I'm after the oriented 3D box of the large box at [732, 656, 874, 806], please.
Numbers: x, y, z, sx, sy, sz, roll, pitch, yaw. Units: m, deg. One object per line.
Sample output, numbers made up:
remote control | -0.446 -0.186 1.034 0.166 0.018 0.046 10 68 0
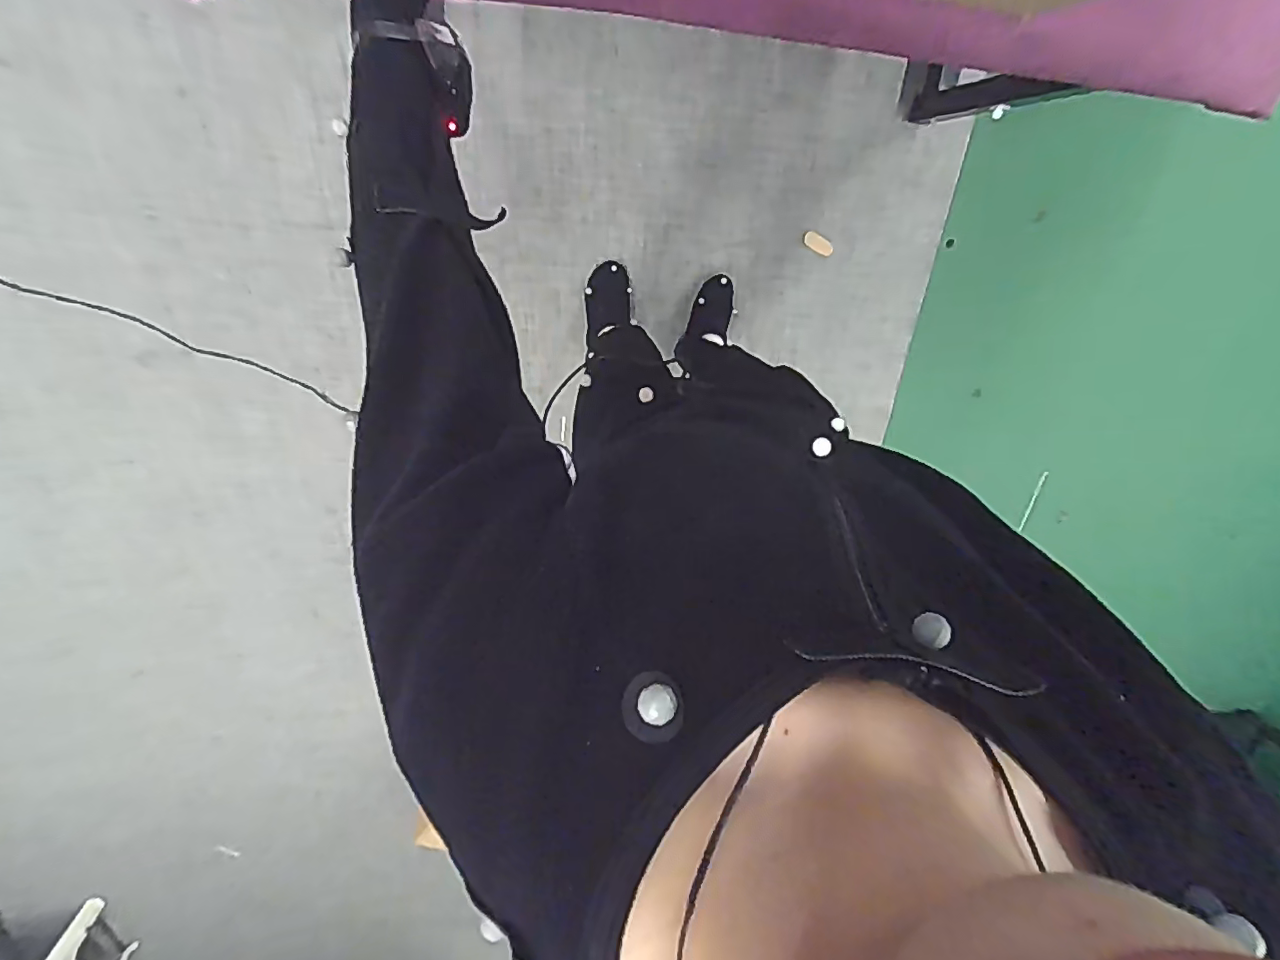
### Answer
large box | 0.592 0.914 1.996 0.408 0.320 0.320 -14 119 -4
